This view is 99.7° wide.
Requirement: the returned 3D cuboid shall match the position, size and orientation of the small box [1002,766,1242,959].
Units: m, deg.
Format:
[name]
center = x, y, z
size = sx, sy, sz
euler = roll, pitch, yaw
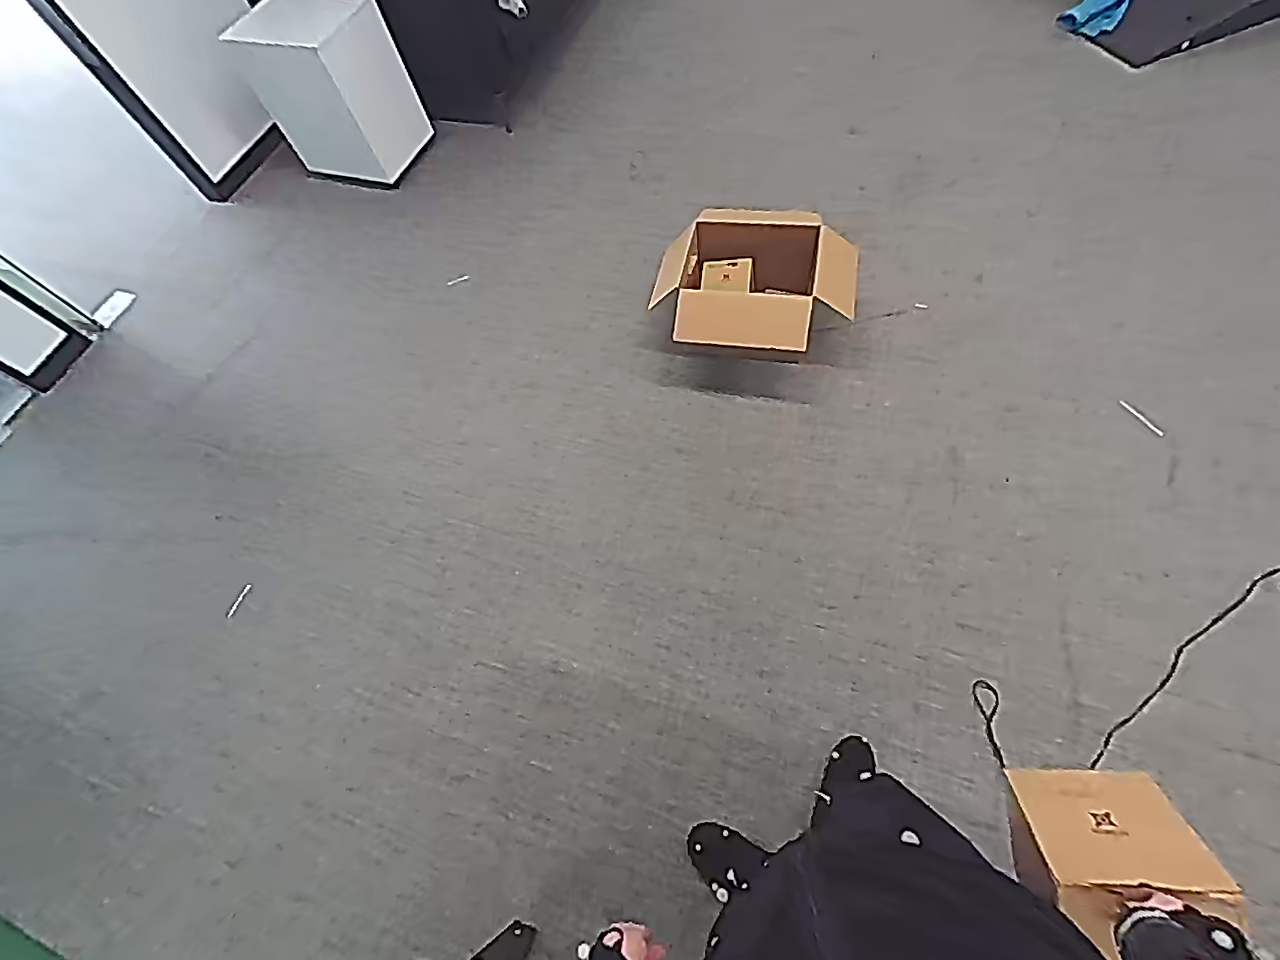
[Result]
[small box]
center = 0.569, 0.481, 0.655
size = 0.168, 0.179, 0.176
euler = -9, 99, 18
